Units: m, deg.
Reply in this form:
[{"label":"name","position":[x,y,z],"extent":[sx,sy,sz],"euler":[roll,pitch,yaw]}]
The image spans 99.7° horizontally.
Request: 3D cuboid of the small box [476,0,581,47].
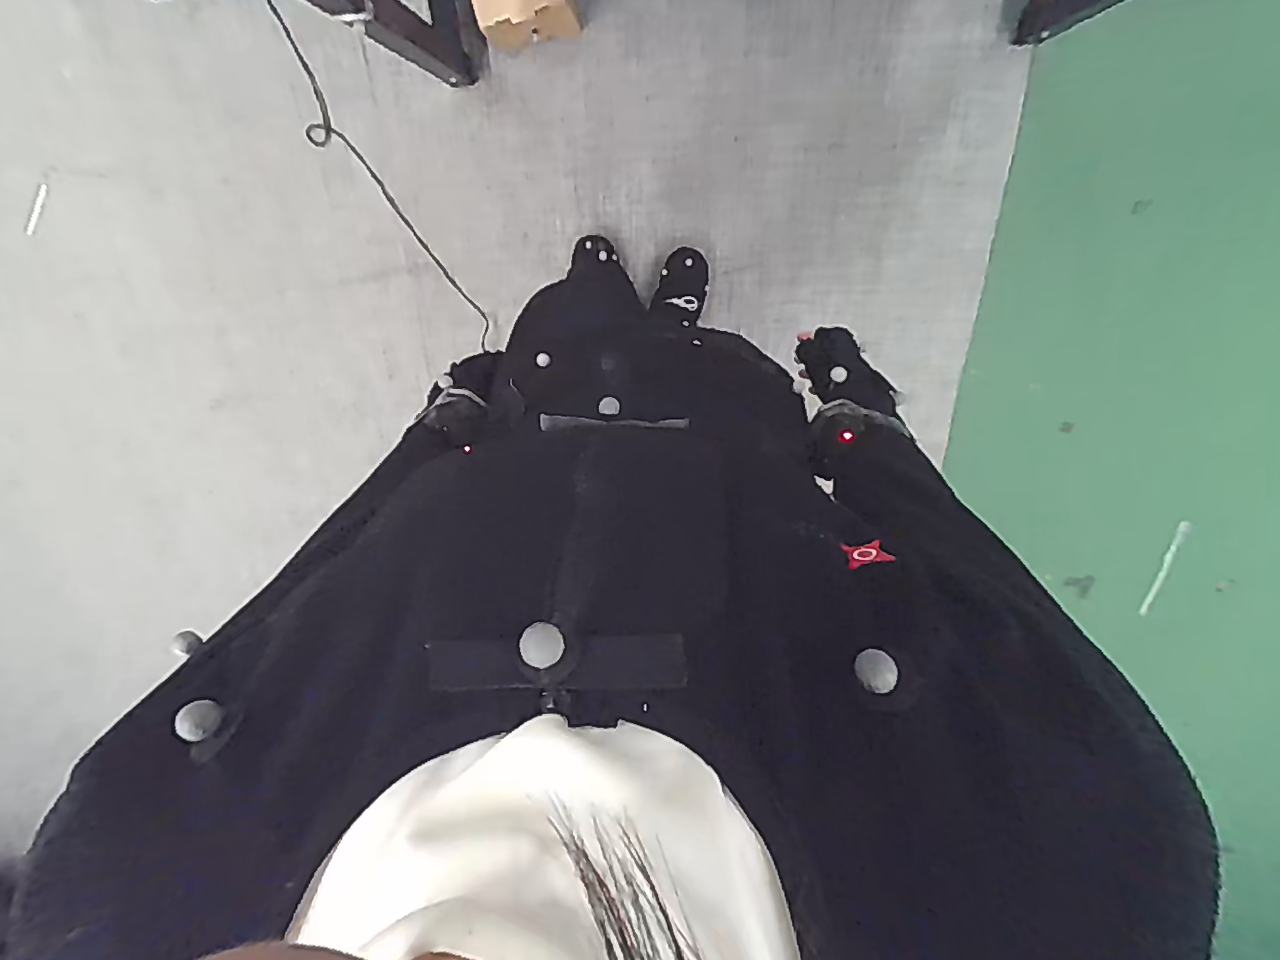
[{"label":"small box","position":[-0.214,-0.931,0.994],"extent":[0.168,0.176,0.179],"euler":[-9,115,8]}]
